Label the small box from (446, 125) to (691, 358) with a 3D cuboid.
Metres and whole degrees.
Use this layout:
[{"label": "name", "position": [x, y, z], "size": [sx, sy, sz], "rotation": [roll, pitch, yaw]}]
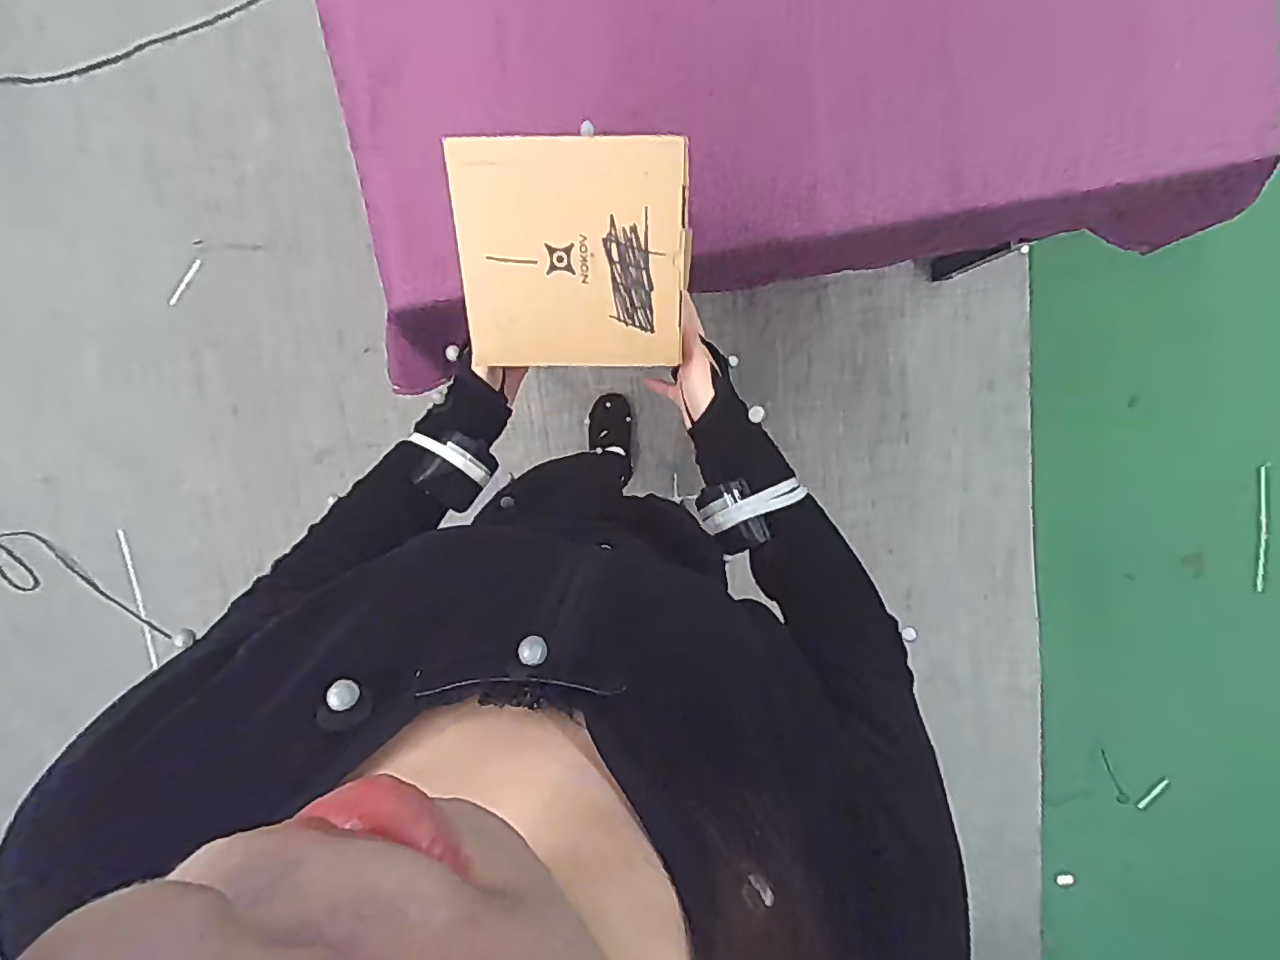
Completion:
[{"label": "small box", "position": [-0.049, -0.211, 0.486], "size": [0.179, 0.176, 0.168], "rotation": [1, 116, 2]}]
